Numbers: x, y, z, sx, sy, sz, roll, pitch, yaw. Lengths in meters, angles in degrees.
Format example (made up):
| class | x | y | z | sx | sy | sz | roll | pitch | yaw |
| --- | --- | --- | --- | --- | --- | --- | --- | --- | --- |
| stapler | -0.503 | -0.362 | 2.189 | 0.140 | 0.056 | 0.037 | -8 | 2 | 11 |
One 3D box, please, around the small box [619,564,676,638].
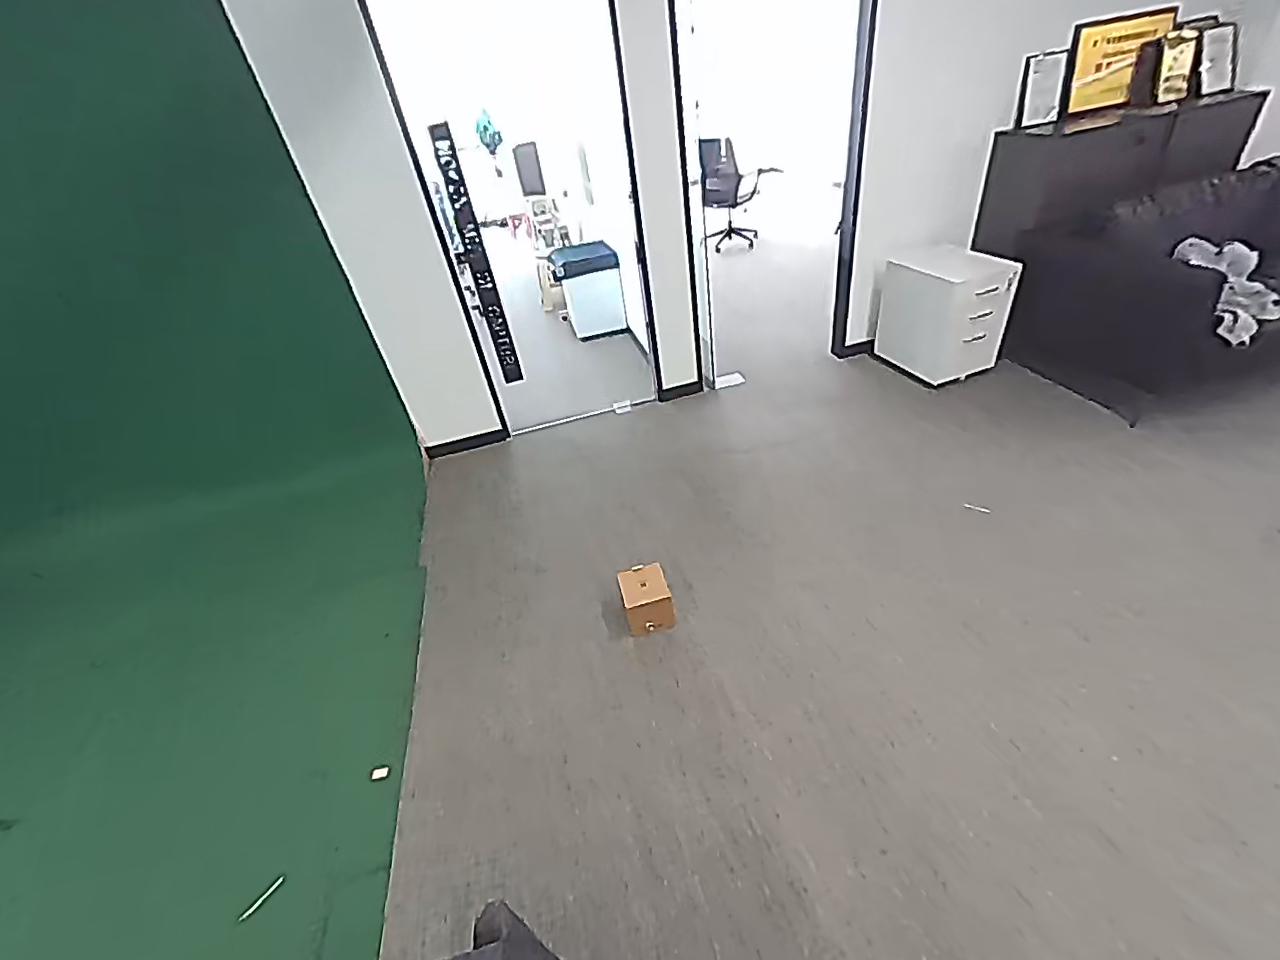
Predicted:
| class | x | y | z | sx | sy | sz | roll | pitch | yaw |
| --- | --- | --- | --- | --- | --- | --- | --- | --- | --- |
| small box | 0.026 | 0.438 | 1.961 | 0.168 | 0.176 | 0.179 | -14 | 36 | -3 |
